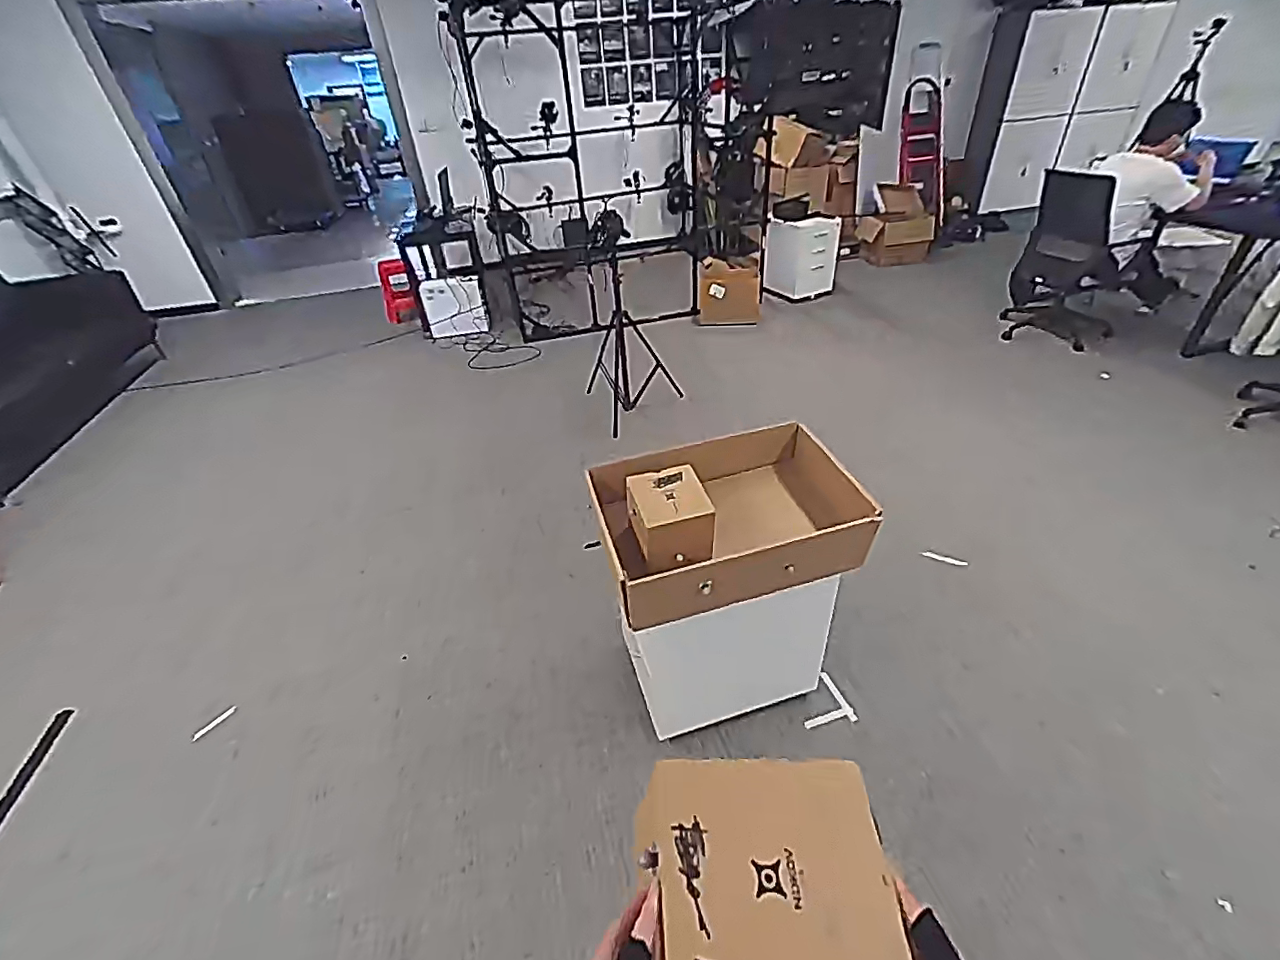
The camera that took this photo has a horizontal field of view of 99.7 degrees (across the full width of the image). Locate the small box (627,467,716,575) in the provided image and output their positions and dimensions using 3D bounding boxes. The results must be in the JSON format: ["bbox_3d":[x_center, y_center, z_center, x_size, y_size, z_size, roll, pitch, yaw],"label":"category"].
[{"bbox_3d":[0.070,0.099,1.303,0.168,0.176,0.179,-13,43,-11],"label":"small box"}]

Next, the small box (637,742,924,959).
[{"bbox_3d":[0.095,0.337,0.449,0.179,0.176,0.168,4,44,-6],"label":"small box"}]
